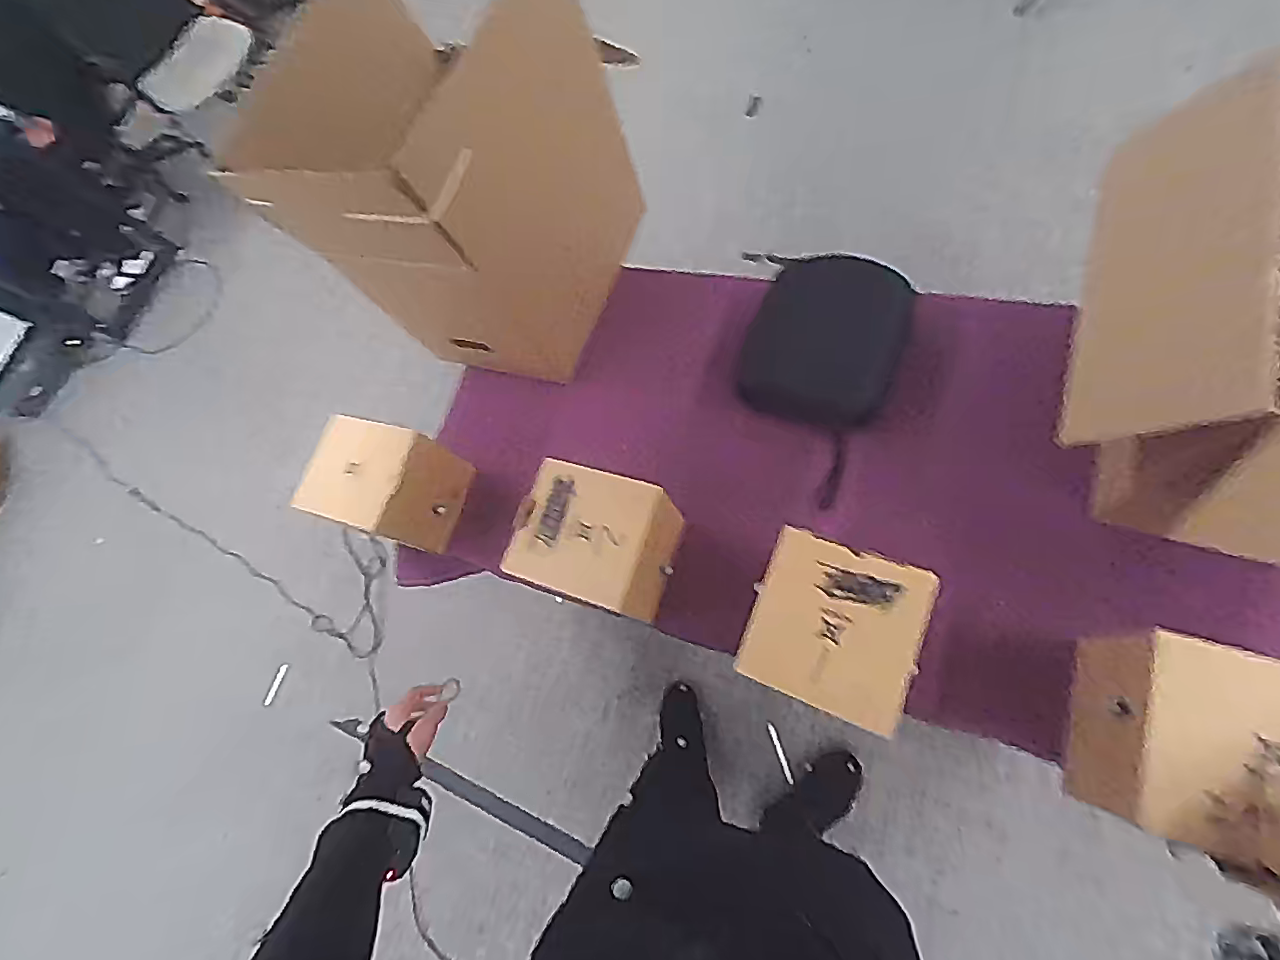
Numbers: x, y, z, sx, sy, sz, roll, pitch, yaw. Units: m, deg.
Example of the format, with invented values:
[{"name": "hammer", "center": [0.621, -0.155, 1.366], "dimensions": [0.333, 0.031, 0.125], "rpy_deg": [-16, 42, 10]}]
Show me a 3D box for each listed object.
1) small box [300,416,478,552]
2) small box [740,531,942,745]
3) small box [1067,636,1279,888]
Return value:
[{"name": "small box", "center": [-0.411, 0.012, 0.911], "dimensions": [0.179, 0.176, 0.168], "rpy_deg": [12, 74, 20]}, {"name": "small box", "center": [0.234, 0.185, 0.648], "dimensions": [0.168, 0.176, 0.179], "rpy_deg": [19, 78, 23]}, {"name": "small box", "center": [0.548, 0.267, 0.519], "dimensions": [0.168, 0.176, 0.179], "rpy_deg": [15, 76, 23]}]
